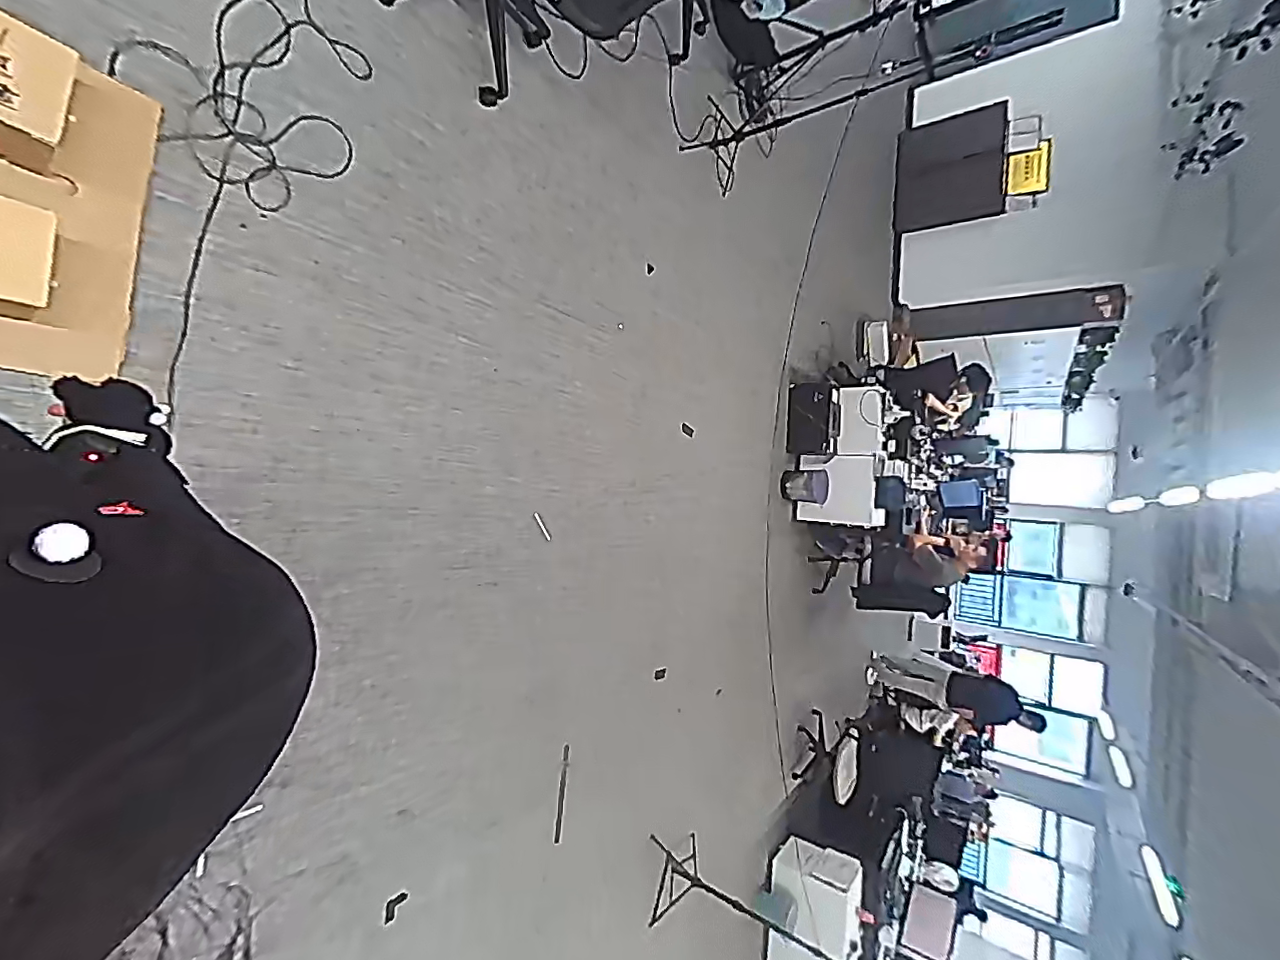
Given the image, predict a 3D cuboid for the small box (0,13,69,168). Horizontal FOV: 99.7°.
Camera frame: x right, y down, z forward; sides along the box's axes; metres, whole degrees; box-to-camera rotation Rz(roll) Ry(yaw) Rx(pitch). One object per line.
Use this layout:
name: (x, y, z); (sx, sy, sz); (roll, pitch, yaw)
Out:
small box: (-1.092, -0.661, 0.897); (0.168, 0.176, 0.179); (13, 81, -52)
